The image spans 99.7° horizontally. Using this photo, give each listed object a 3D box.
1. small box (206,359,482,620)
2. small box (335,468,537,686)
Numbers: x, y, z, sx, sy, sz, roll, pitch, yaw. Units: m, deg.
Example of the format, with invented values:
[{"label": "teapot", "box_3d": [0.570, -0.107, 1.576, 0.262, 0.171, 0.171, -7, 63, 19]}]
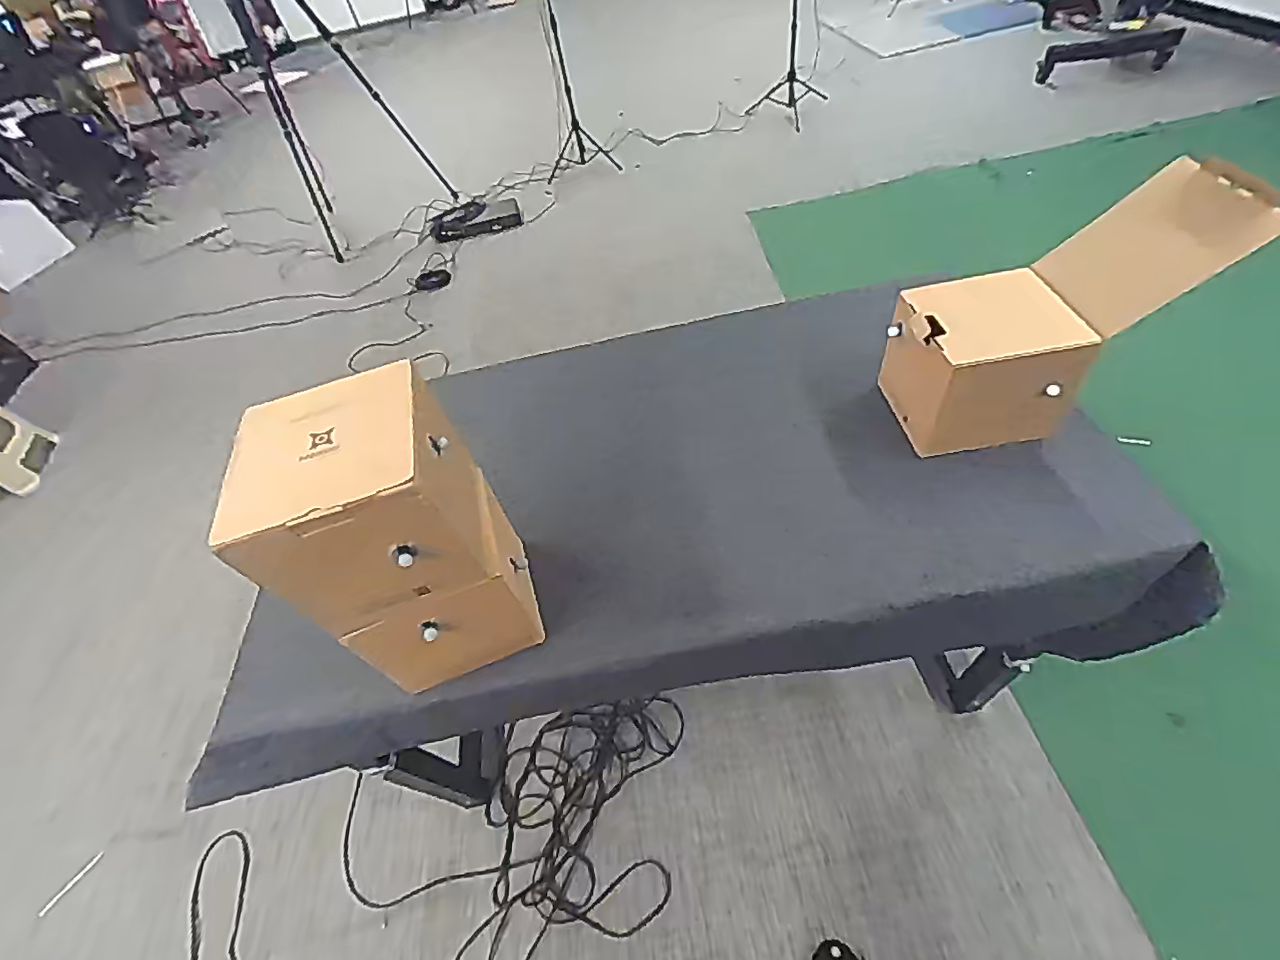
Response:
[{"label": "small box", "box_3d": [-0.267, 0.017, 0.533, 0.168, 0.176, 0.179, -18, 49, -5]}, {"label": "small box", "box_3d": [-0.236, 0.120, 0.656, 0.179, 0.176, 0.168, -21, 50, -5]}]
